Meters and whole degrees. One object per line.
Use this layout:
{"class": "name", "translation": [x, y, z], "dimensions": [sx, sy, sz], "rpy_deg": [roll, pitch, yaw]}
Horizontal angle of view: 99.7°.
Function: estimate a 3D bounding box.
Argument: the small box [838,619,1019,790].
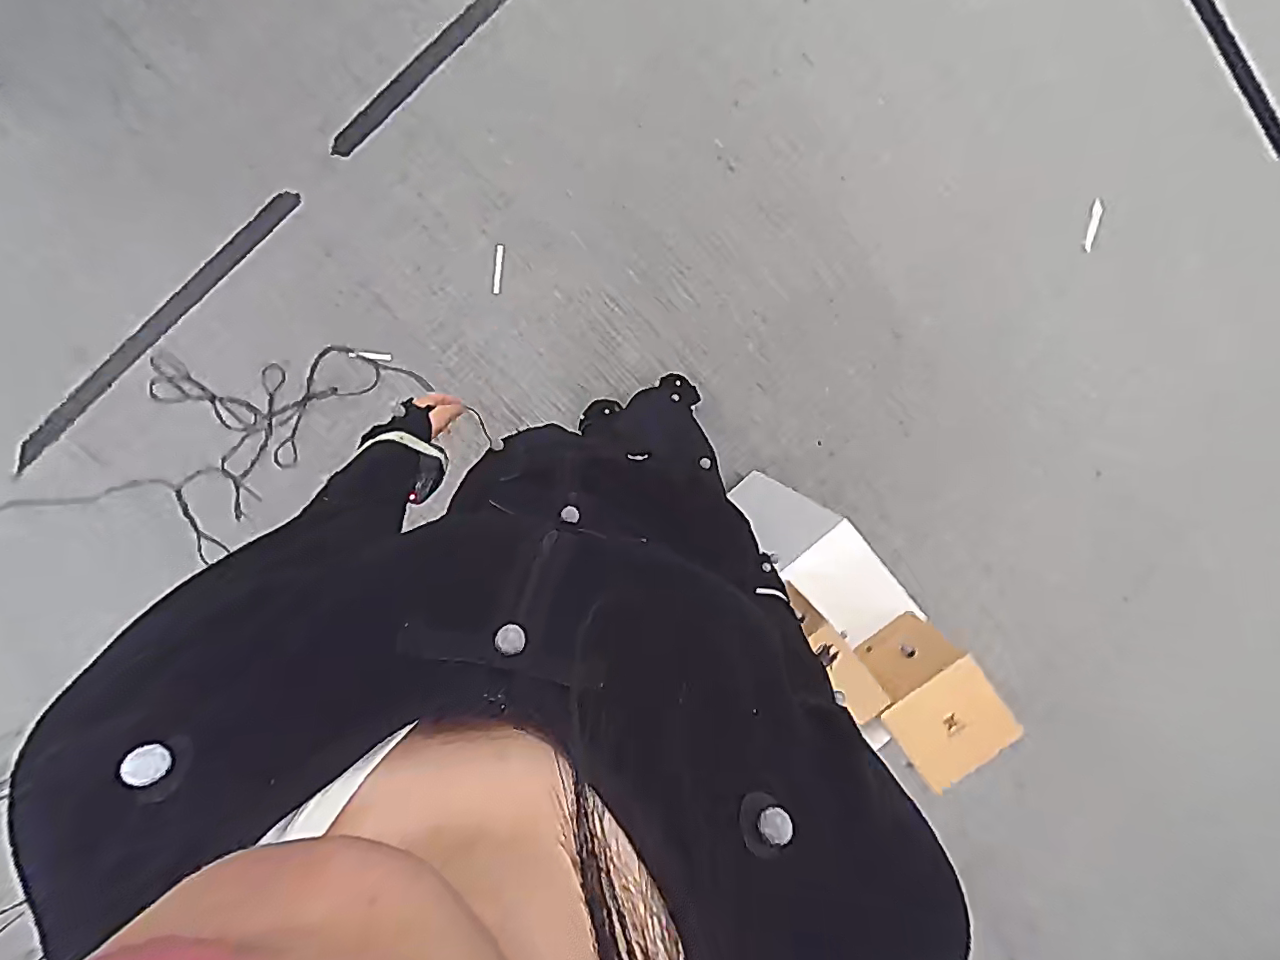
{"class": "small box", "translation": [0.465, 0.356, 0.900], "dimensions": [0.168, 0.176, 0.179], "rpy_deg": [-37, 100, 3]}
